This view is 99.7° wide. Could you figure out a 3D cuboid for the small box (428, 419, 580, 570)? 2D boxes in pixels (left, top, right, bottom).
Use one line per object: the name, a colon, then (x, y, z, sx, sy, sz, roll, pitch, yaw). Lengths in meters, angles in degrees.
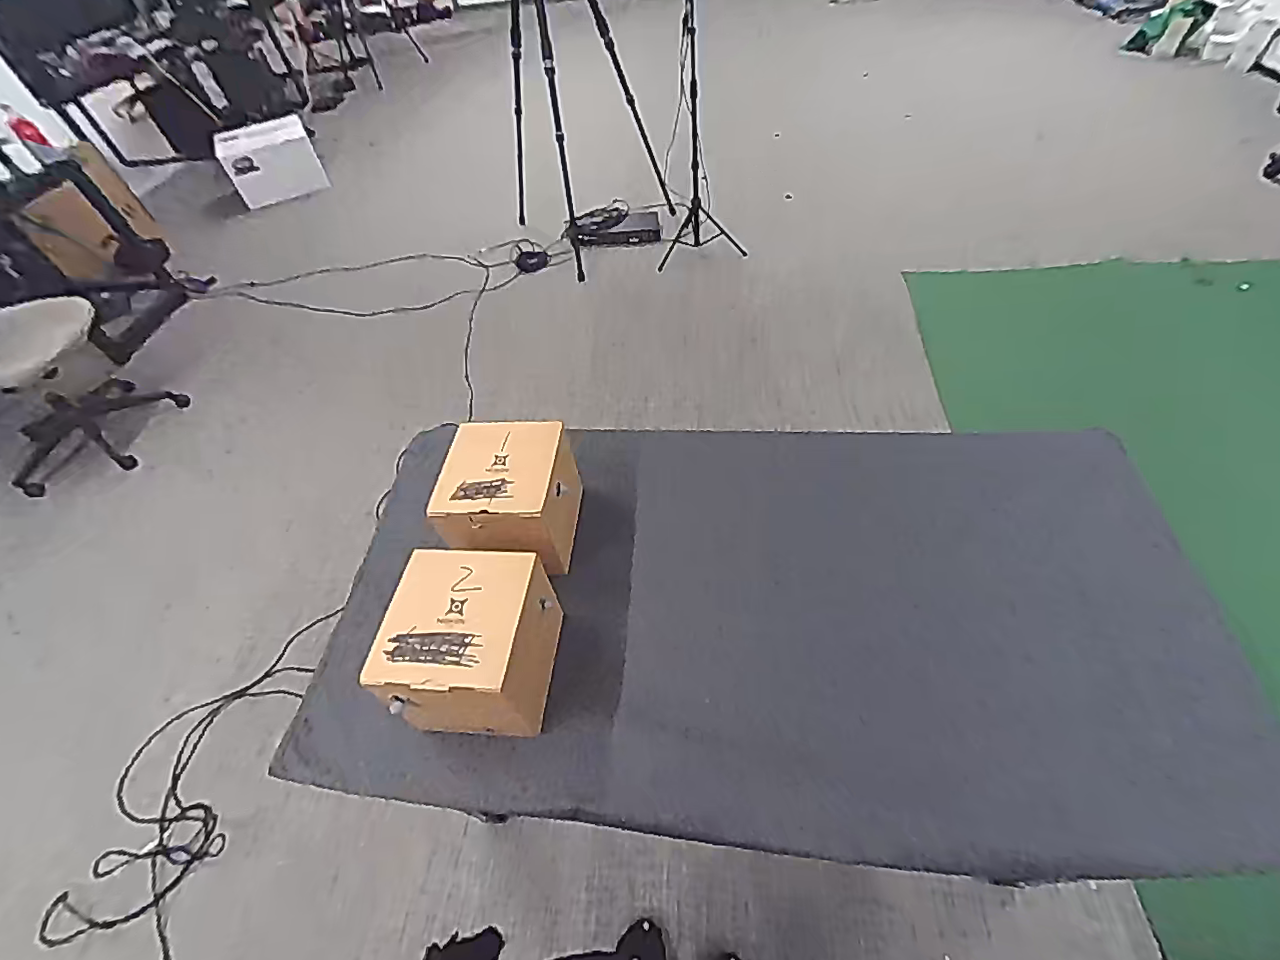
small box: (-0.196, 0.026, 0.840, 0.168, 0.176, 0.179, 0, 51, 7)
